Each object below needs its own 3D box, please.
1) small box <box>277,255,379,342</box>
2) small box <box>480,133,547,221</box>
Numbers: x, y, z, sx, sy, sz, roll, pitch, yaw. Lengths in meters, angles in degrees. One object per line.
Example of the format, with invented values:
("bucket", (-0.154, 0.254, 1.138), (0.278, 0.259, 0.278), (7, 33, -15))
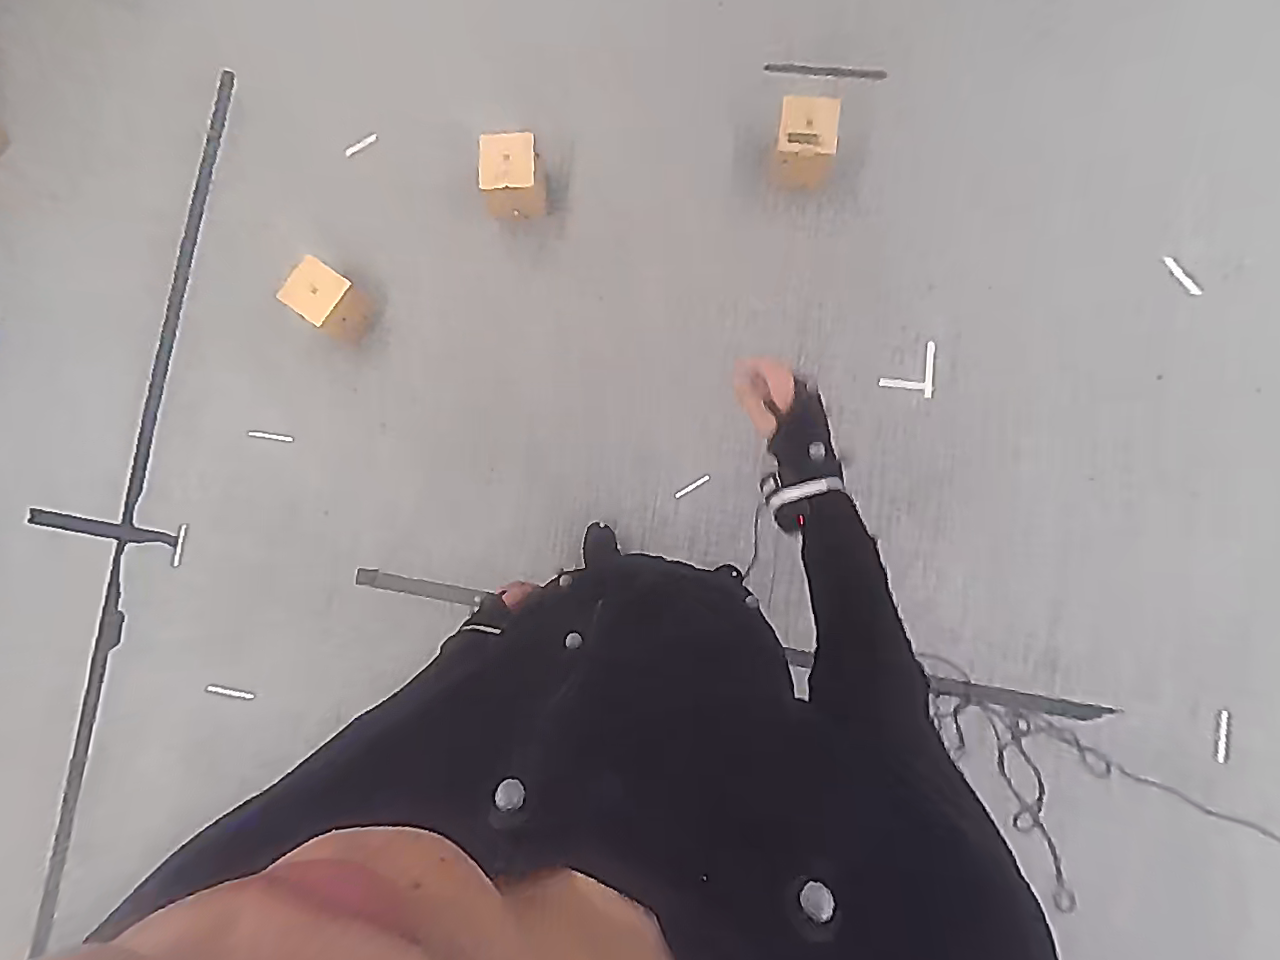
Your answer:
("small box", (-0.956, -0.551, 1.675), (0.179, 0.176, 0.168), (35, 88, 6))
("small box", (-0.388, -0.935, 1.677), (0.168, 0.176, 0.179), (-1, 85, 3))
